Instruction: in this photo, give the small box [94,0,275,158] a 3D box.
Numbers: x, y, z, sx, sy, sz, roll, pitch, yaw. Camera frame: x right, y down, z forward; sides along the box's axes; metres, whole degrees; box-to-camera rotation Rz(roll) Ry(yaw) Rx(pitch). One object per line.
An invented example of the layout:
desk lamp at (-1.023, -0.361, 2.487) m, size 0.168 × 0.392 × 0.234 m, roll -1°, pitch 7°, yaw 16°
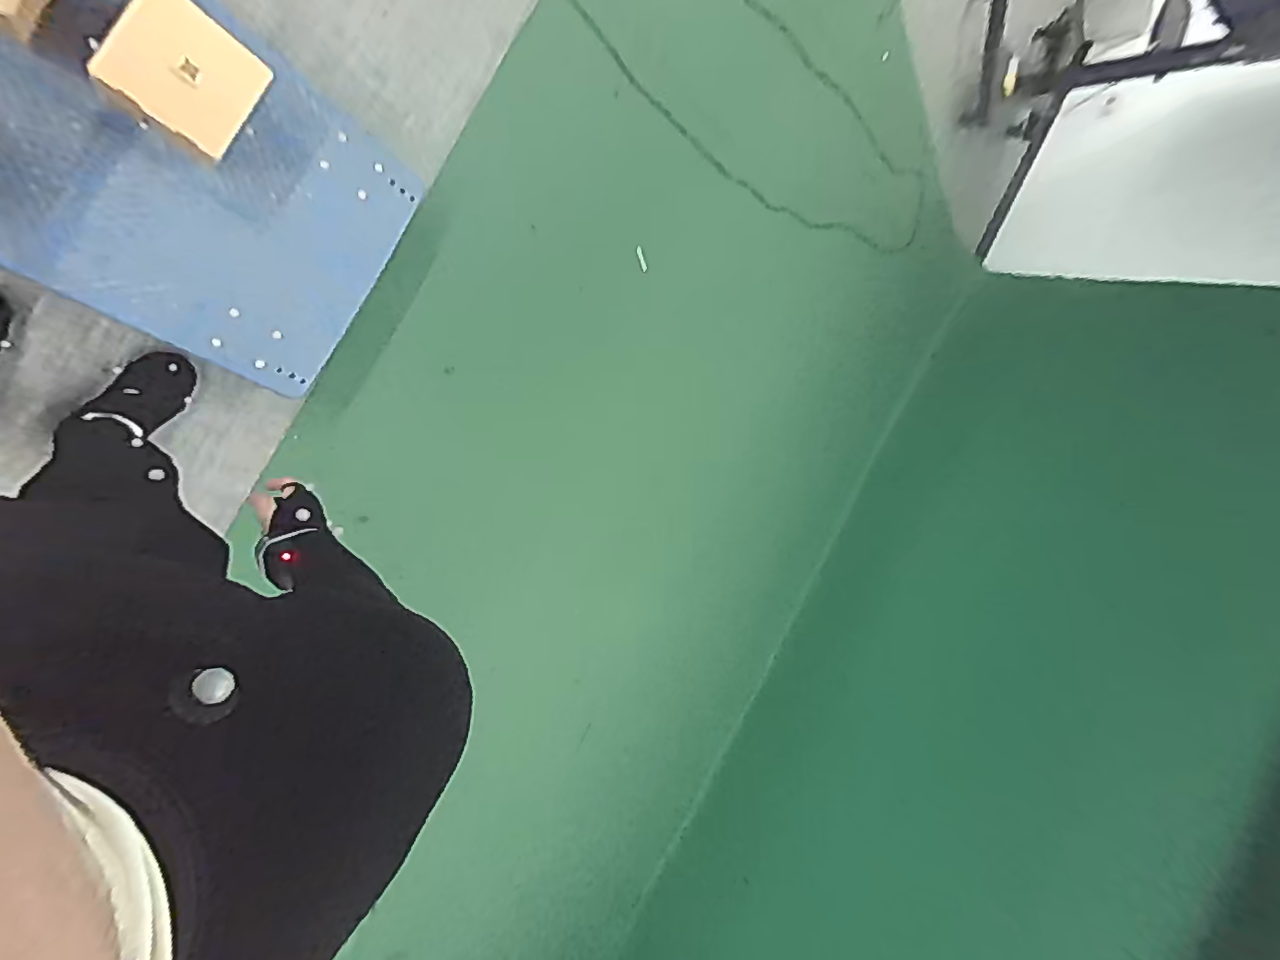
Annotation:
small box at (-0.746, -0.665, 0.887) m, size 0.168 × 0.176 × 0.179 m, roll 33°, pitch 86°, yaw -46°
